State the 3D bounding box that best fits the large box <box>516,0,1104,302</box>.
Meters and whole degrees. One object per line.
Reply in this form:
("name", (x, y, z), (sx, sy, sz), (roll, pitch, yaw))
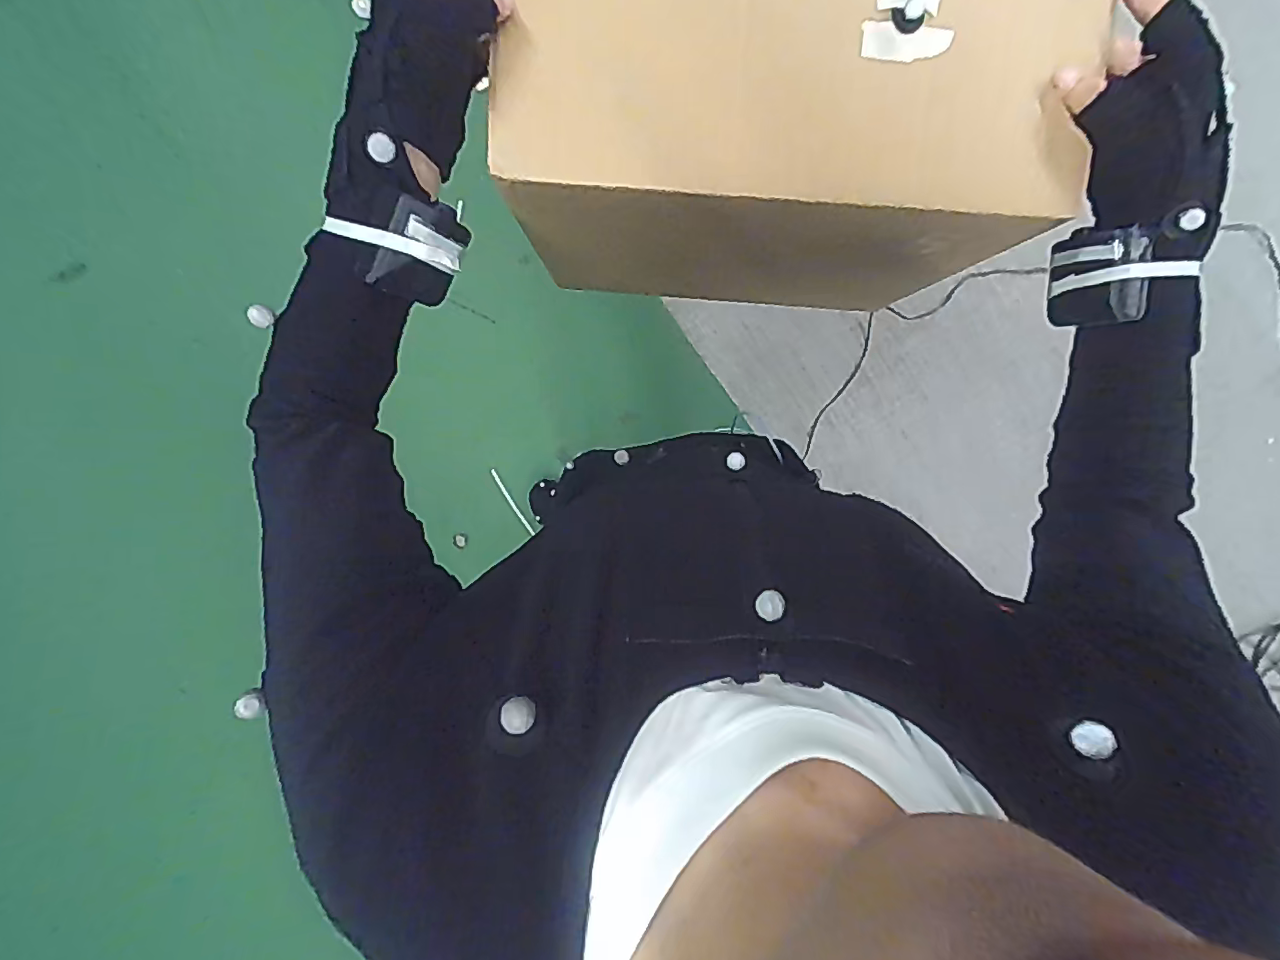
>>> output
("large box", (0.113, -0.367, 0.510), (0.408, 0.320, 0.320), (4, 96, -2))
